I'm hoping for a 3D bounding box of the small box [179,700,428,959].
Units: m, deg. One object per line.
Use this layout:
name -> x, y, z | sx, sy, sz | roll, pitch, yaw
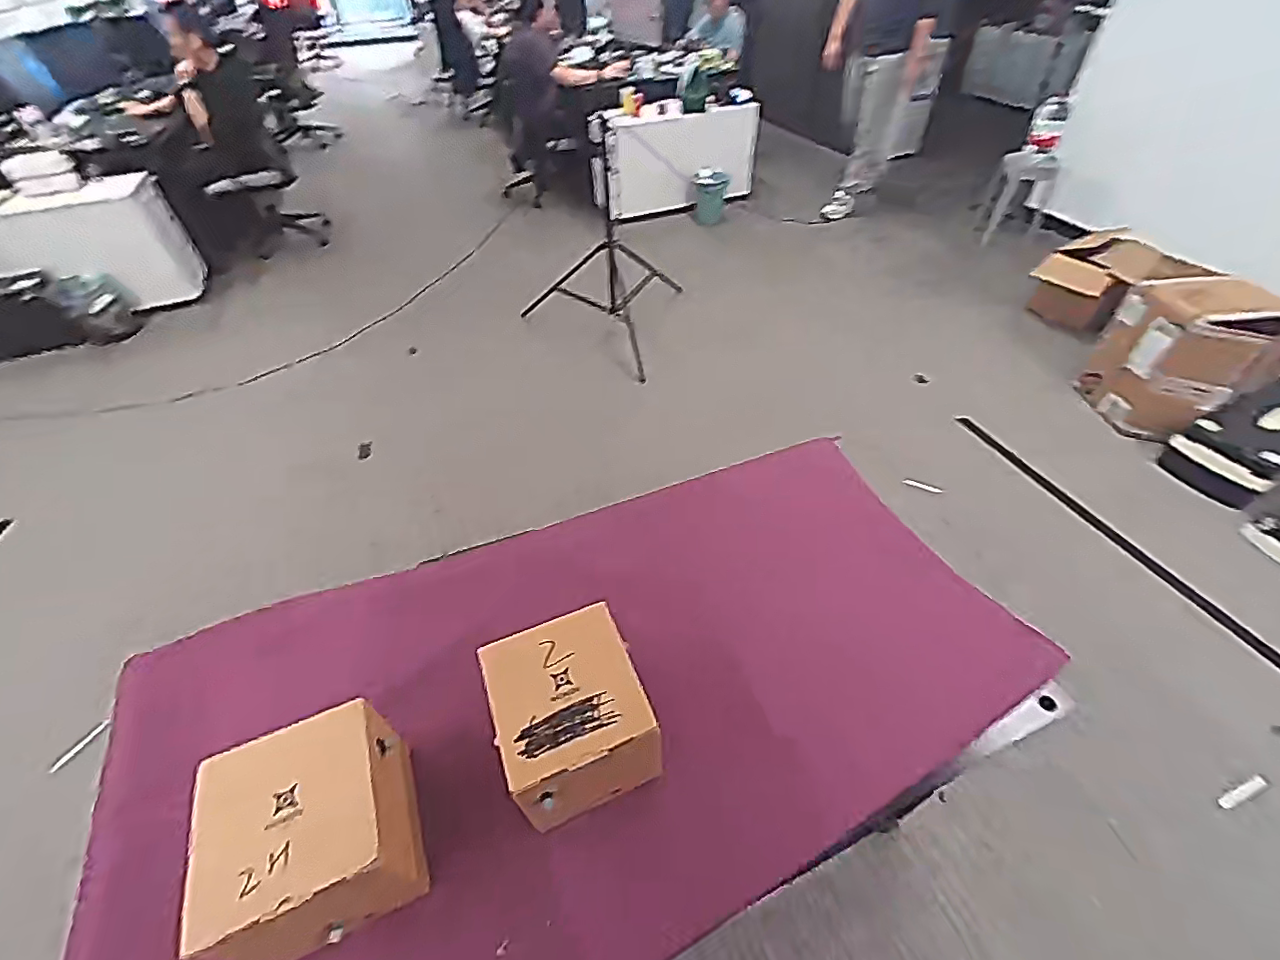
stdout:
small box -> -0.348, 0.382, 0.588 | 0.168, 0.176, 0.179 | -19, 48, -17
